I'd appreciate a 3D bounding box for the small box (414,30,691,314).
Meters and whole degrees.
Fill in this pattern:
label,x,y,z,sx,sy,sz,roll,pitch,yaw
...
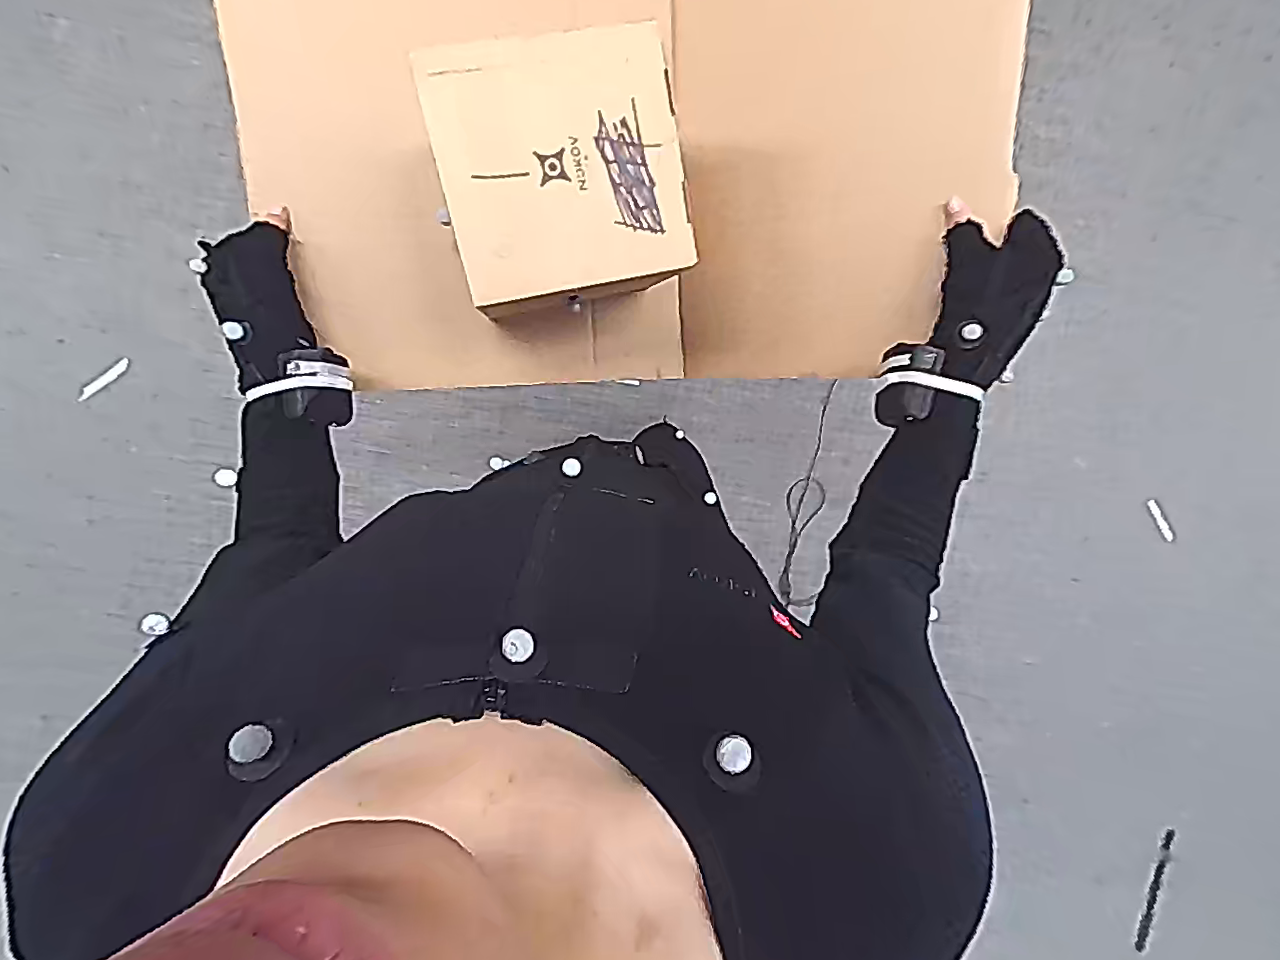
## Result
label,x,y,z,sx,sy,sz,roll,pitch,yaw
small box,-0.072,-0.247,0.473,0.179,0.176,0.168,-14,106,-8
